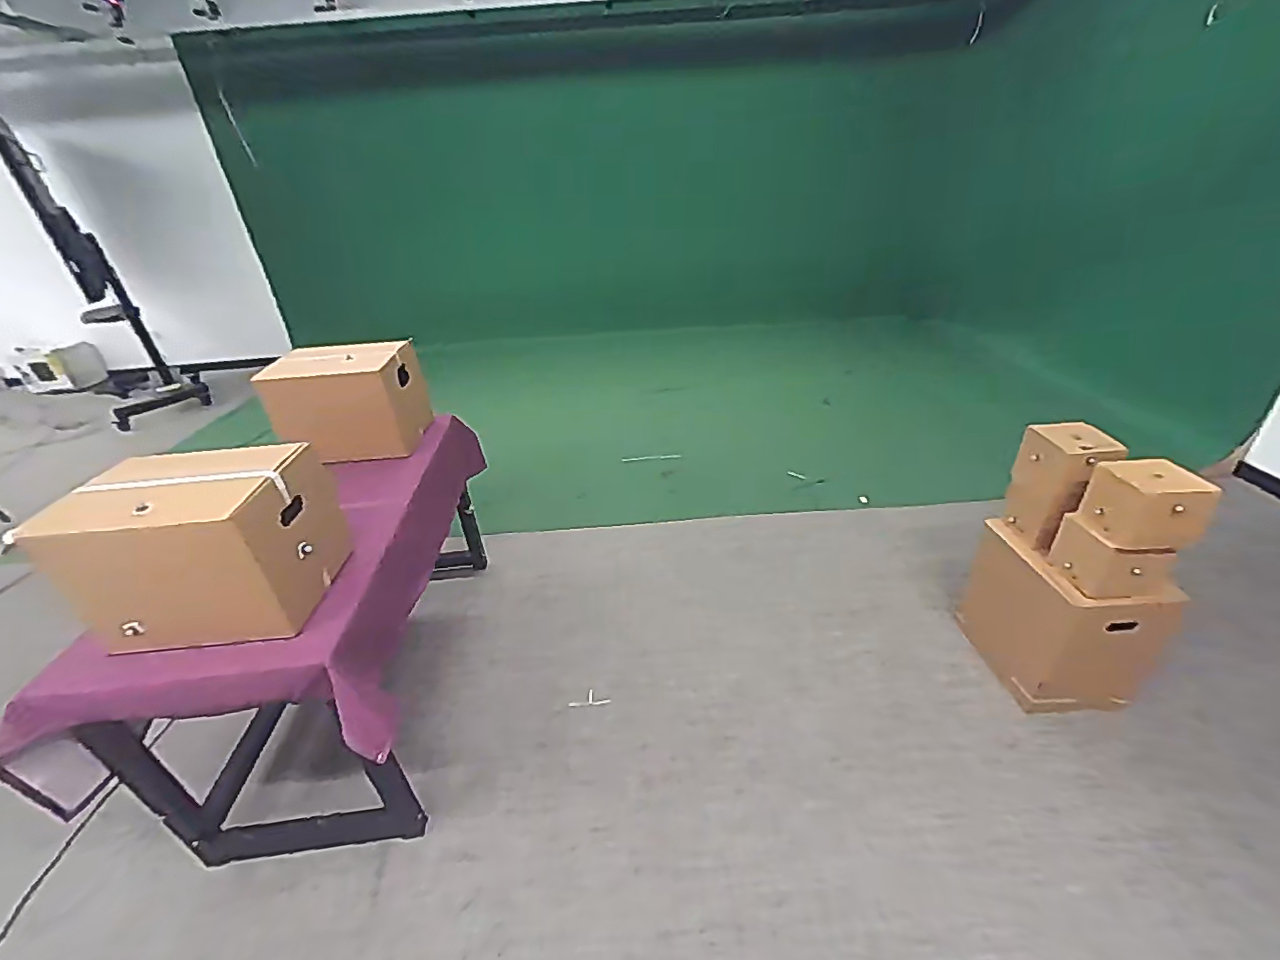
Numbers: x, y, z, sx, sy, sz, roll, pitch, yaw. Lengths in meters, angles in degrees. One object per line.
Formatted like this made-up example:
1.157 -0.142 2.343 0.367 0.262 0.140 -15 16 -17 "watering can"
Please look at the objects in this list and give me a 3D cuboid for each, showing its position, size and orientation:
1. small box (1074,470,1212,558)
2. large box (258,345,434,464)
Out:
1.280 0.088 1.393 0.179 0.176 0.168 -2 29 2 "small box"
-0.985 -0.266 1.870 0.408 0.320 0.320 -3 31 -1 "large box"
